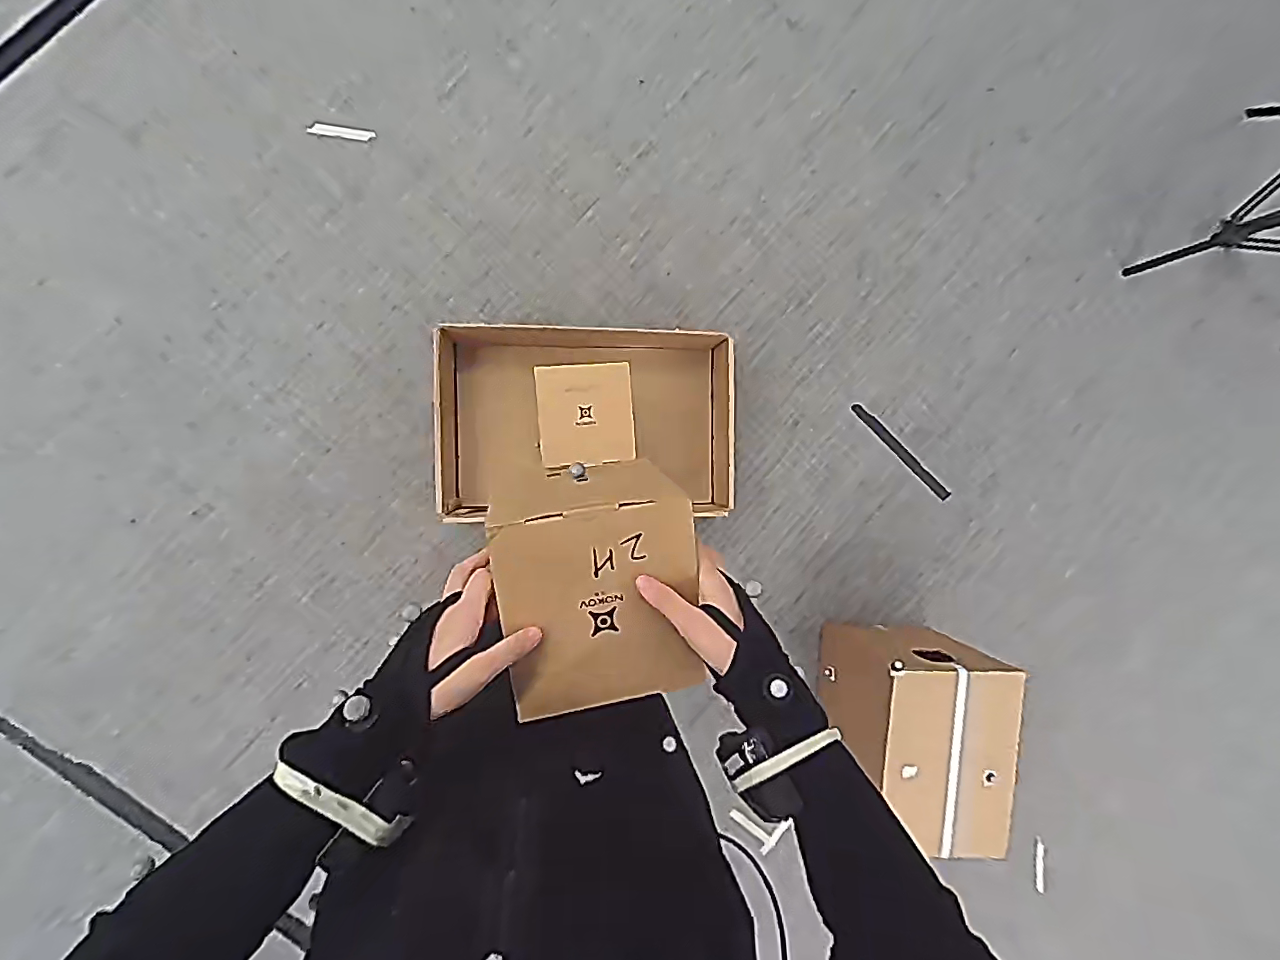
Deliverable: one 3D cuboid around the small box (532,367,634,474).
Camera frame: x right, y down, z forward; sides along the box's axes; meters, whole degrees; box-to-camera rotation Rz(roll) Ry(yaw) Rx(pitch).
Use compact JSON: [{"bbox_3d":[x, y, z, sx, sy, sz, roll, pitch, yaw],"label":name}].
[{"bbox_3d":[-0.108,-0.107,1.012,0.168,0.176,0.179,-6,92,-9],"label":"small box"}]
